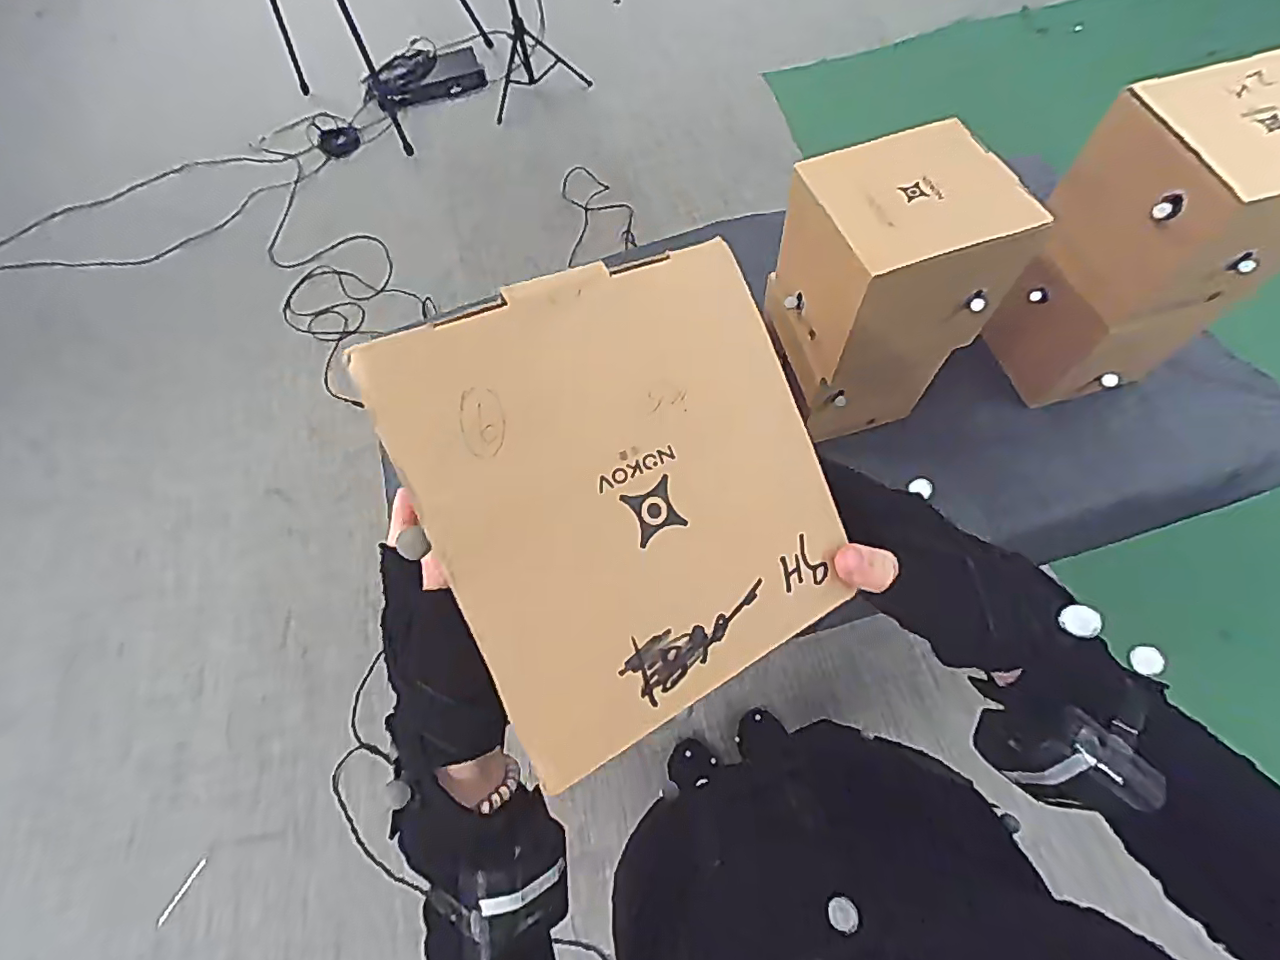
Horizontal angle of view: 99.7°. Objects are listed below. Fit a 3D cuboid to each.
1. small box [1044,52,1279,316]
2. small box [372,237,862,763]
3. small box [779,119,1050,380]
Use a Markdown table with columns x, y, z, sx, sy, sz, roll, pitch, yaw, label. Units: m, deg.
| x | y | z | sx | sy | sz | roll | pitch | yaw | label |
| --- | --- | --- | --- | --- | --- | --- | --- | --- | --- |
| 0.583 | -0.297 | 0.573 | 0.168 | 0.176 | 0.179 | -13 | 65 | 0 | small box |
| -0.024 | 0.005 | 0.297 | 0.168 | 0.176 | 0.179 | -25 | 94 | -21 | small box |
| 0.268 | -0.236 | 0.580 | 0.179 | 0.176 | 0.168 | -17 | 64 | -2 | small box |
